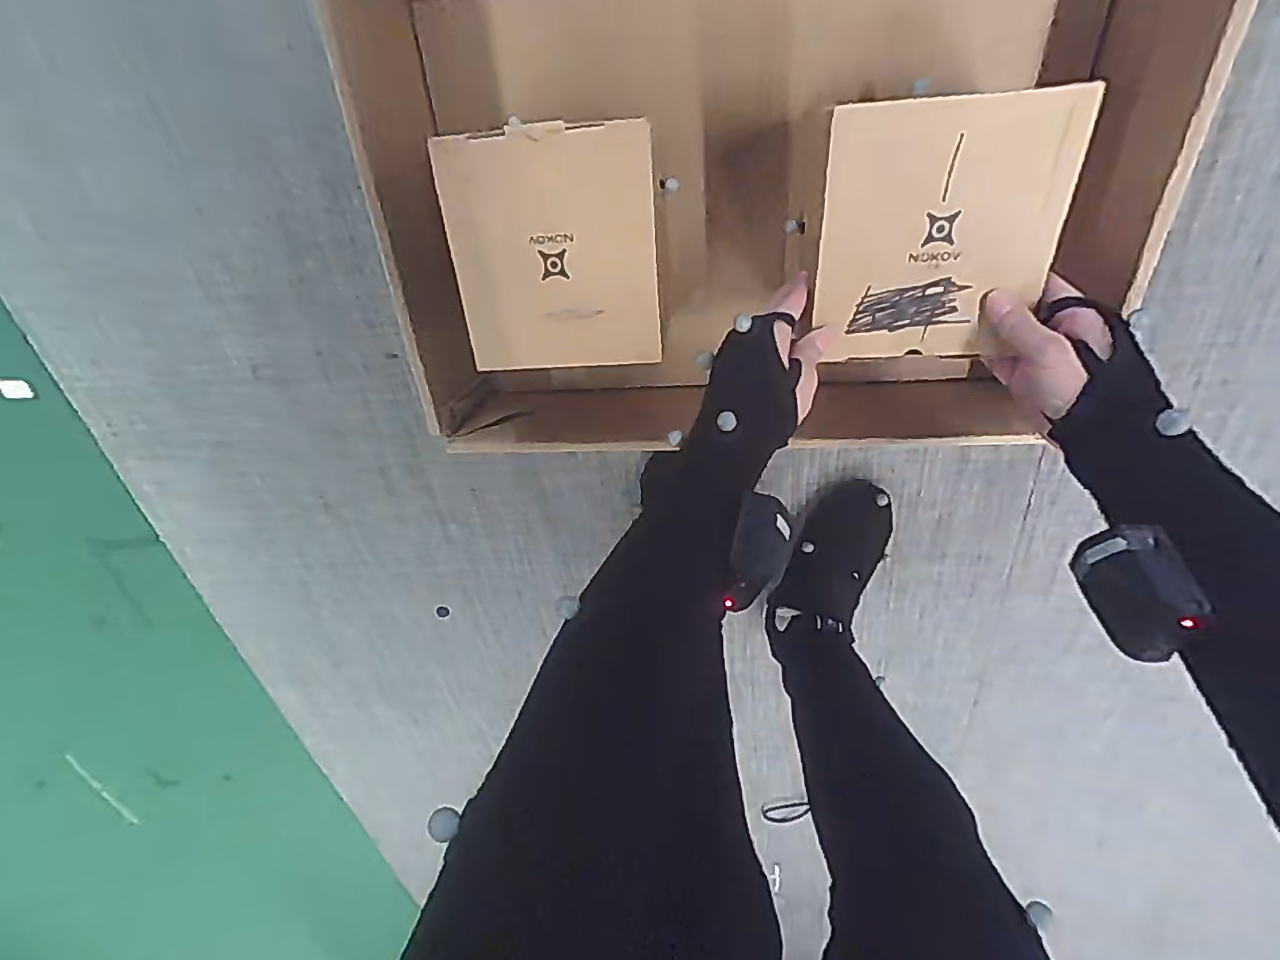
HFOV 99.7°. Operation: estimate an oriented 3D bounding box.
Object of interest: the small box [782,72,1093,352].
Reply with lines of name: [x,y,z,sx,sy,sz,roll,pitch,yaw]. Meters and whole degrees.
small box: [0.216,-0.219,0.455,0.168,0.176,0.179,-1,119,7]
